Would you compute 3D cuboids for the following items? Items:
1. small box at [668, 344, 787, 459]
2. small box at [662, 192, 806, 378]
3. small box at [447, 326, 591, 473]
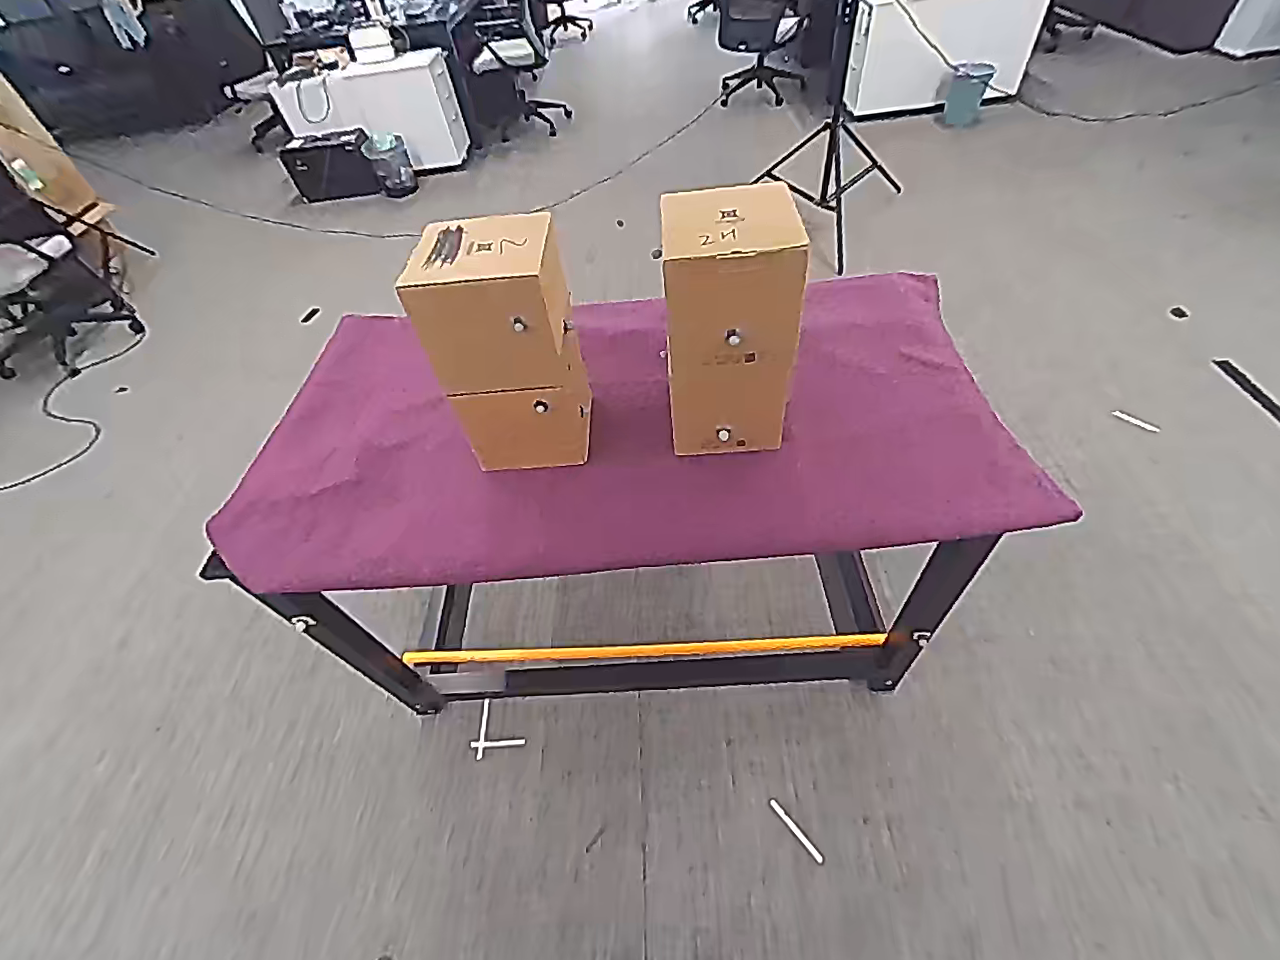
[{"bbox_3d":[0.129,-0.153,0.854,0.168,0.176,0.179,-3,50,5],"label":"small box"},{"bbox_3d":[0.117,-0.260,0.728,0.168,0.176,0.179,-4,50,6],"label":"small box"},{"bbox_3d":[-0.183,-0.126,0.875,0.179,0.176,0.168,-4,49,4],"label":"small box"}]
